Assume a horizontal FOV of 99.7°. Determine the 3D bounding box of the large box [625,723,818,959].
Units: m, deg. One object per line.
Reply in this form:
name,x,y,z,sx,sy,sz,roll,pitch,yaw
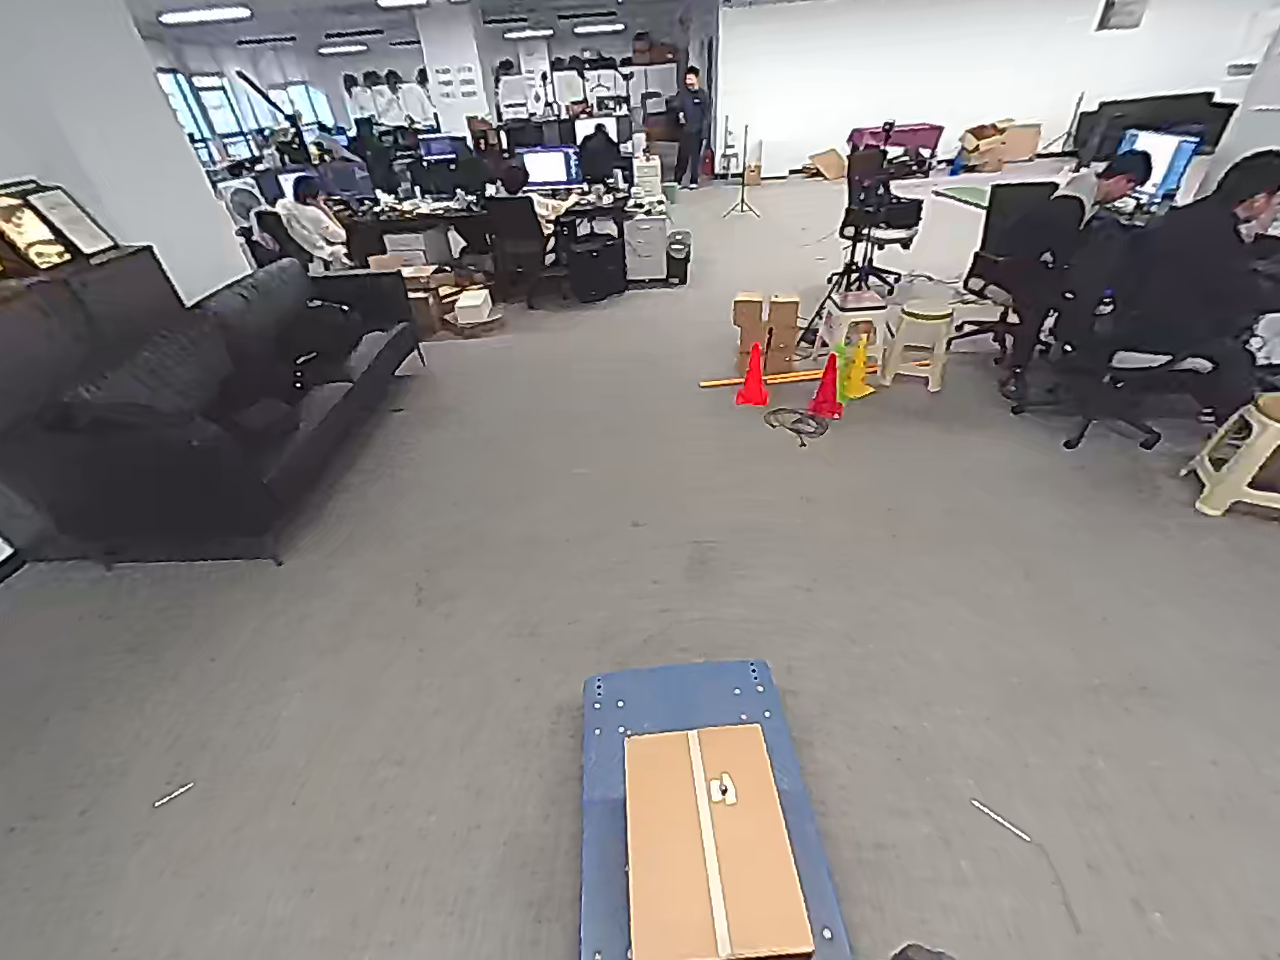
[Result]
large box,0.148,0.803,1.149,0.320,0.320,0.408,-6,36,-1
